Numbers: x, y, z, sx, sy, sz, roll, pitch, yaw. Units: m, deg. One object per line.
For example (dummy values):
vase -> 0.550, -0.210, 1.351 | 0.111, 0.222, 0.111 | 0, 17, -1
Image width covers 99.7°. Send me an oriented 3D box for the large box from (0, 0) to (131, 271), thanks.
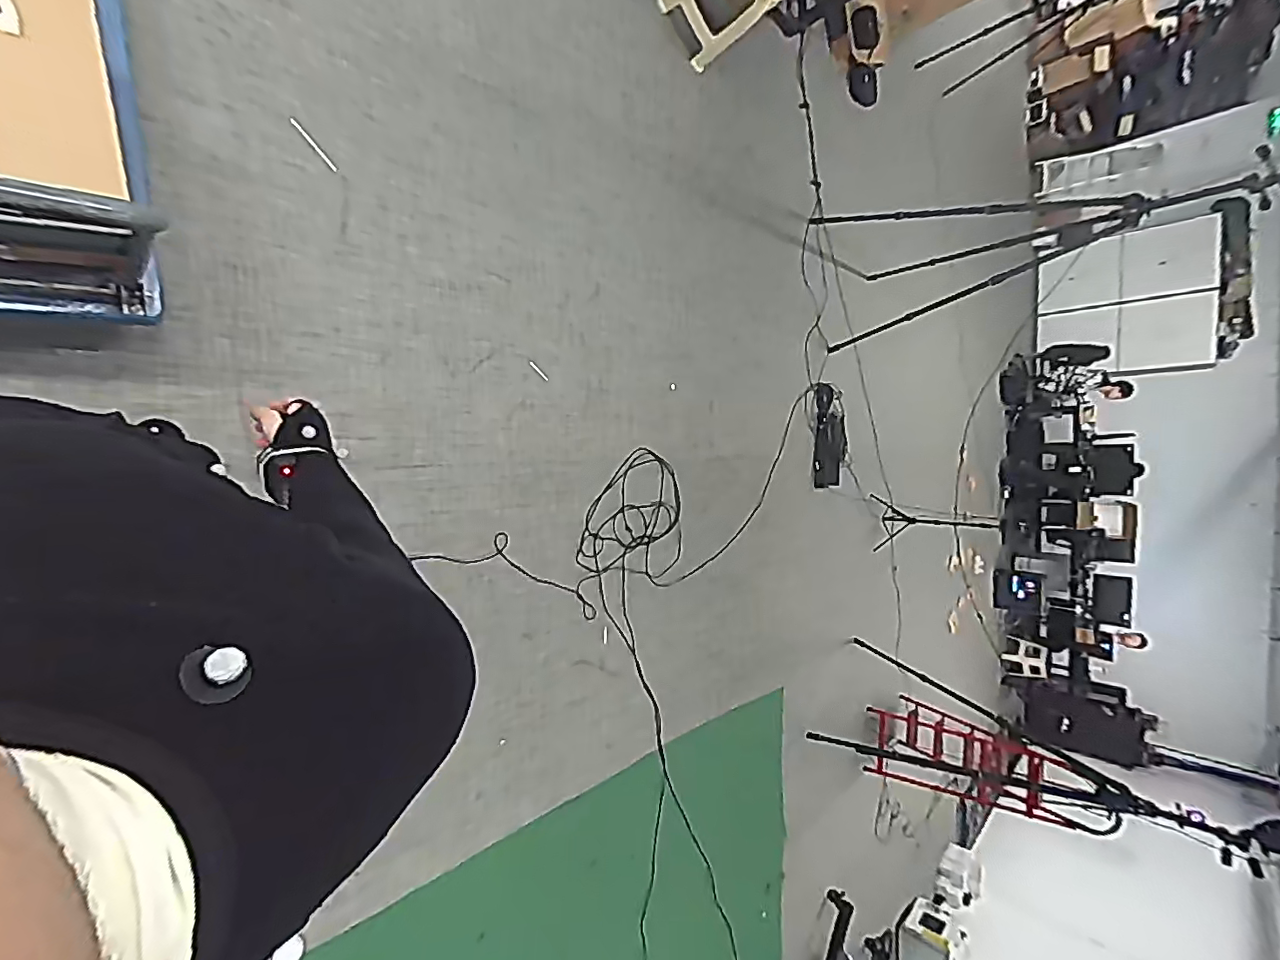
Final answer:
large box -> -1.048, -0.582, 0.846 | 0.320, 0.320, 0.408 | -12, 98, -44
